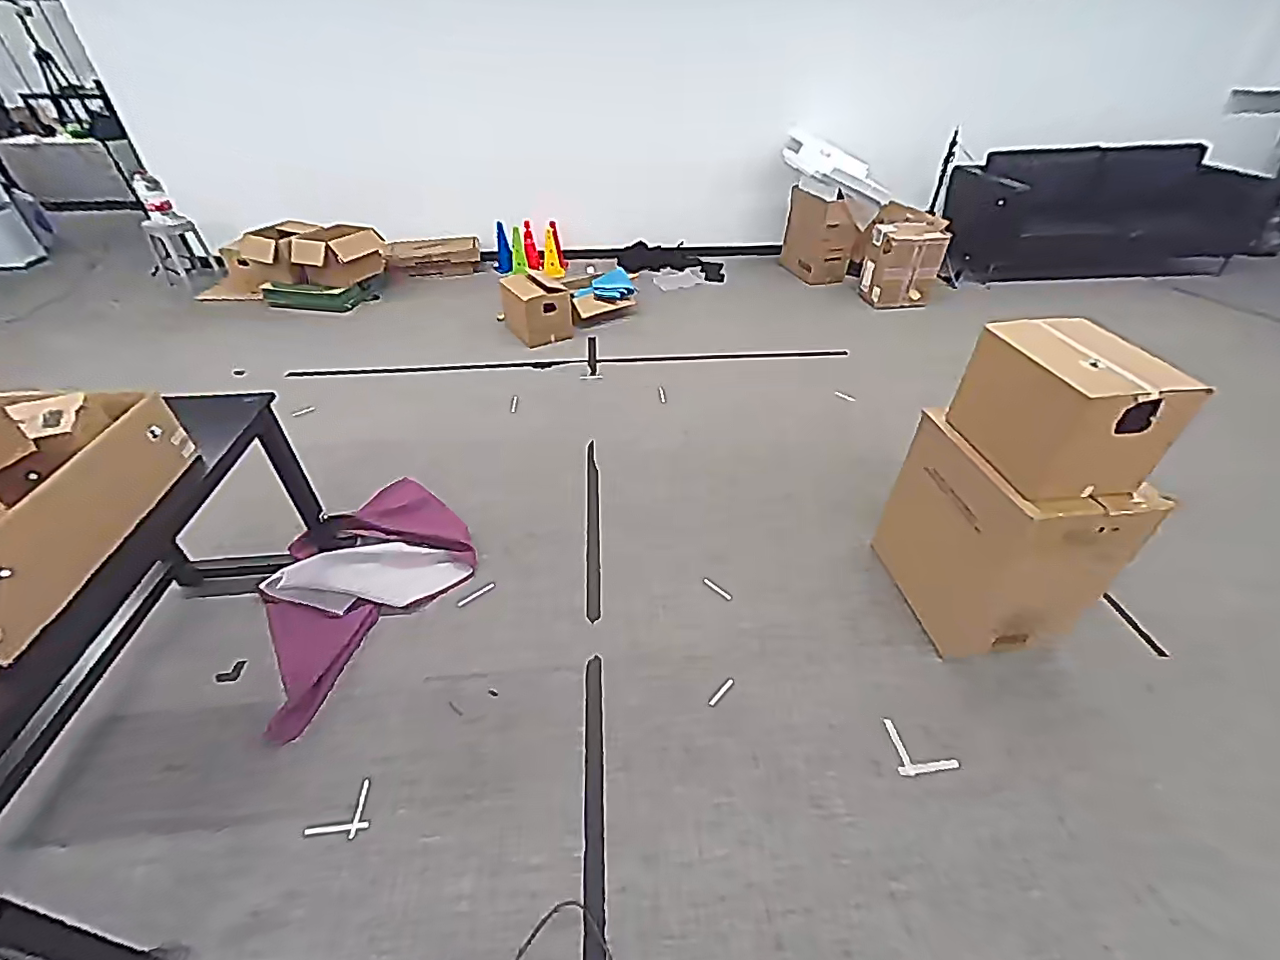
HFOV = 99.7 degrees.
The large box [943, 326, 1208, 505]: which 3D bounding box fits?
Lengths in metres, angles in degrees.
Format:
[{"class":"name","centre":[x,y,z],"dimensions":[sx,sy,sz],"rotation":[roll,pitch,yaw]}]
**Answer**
[{"class":"large box","centre":[1.121,-0.186,1.464],"dimensions":[0.320,0.320,0.408],"rotation":[-5,40,-6]}]
